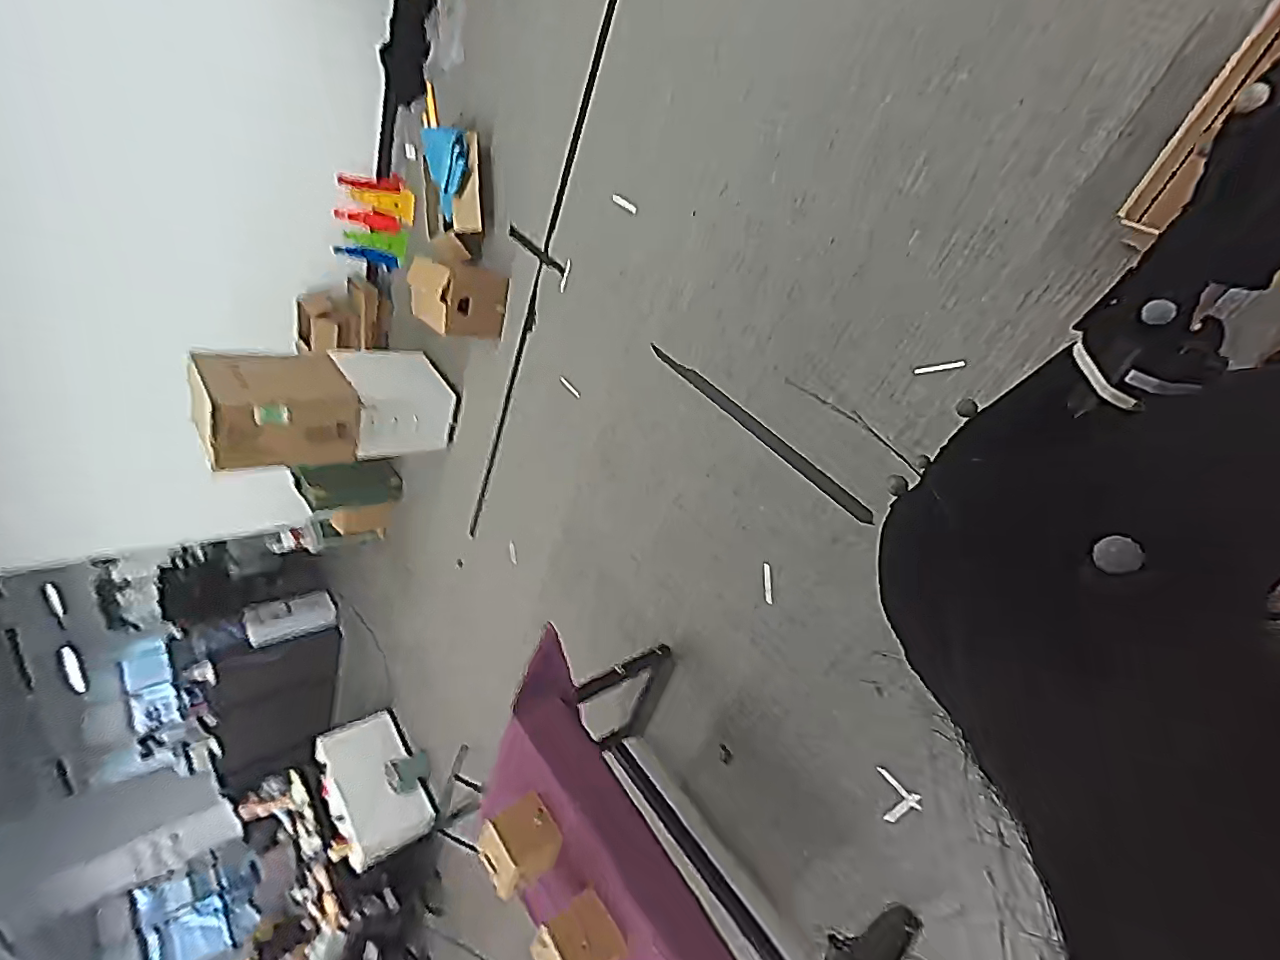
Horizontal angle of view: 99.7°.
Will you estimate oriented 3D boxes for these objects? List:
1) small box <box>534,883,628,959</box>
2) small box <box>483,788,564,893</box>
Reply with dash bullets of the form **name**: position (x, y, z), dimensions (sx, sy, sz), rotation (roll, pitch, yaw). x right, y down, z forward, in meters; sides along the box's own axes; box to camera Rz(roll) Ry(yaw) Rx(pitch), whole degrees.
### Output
- **small box**: position (-0.158, 1.256, 1.465), dimensions (0.179, 0.176, 0.168), rotation (41, 124, 34)
- **small box**: position (-0.351, 1.085, 1.637), dimensions (0.168, 0.176, 0.179), rotation (41, 124, 34)
